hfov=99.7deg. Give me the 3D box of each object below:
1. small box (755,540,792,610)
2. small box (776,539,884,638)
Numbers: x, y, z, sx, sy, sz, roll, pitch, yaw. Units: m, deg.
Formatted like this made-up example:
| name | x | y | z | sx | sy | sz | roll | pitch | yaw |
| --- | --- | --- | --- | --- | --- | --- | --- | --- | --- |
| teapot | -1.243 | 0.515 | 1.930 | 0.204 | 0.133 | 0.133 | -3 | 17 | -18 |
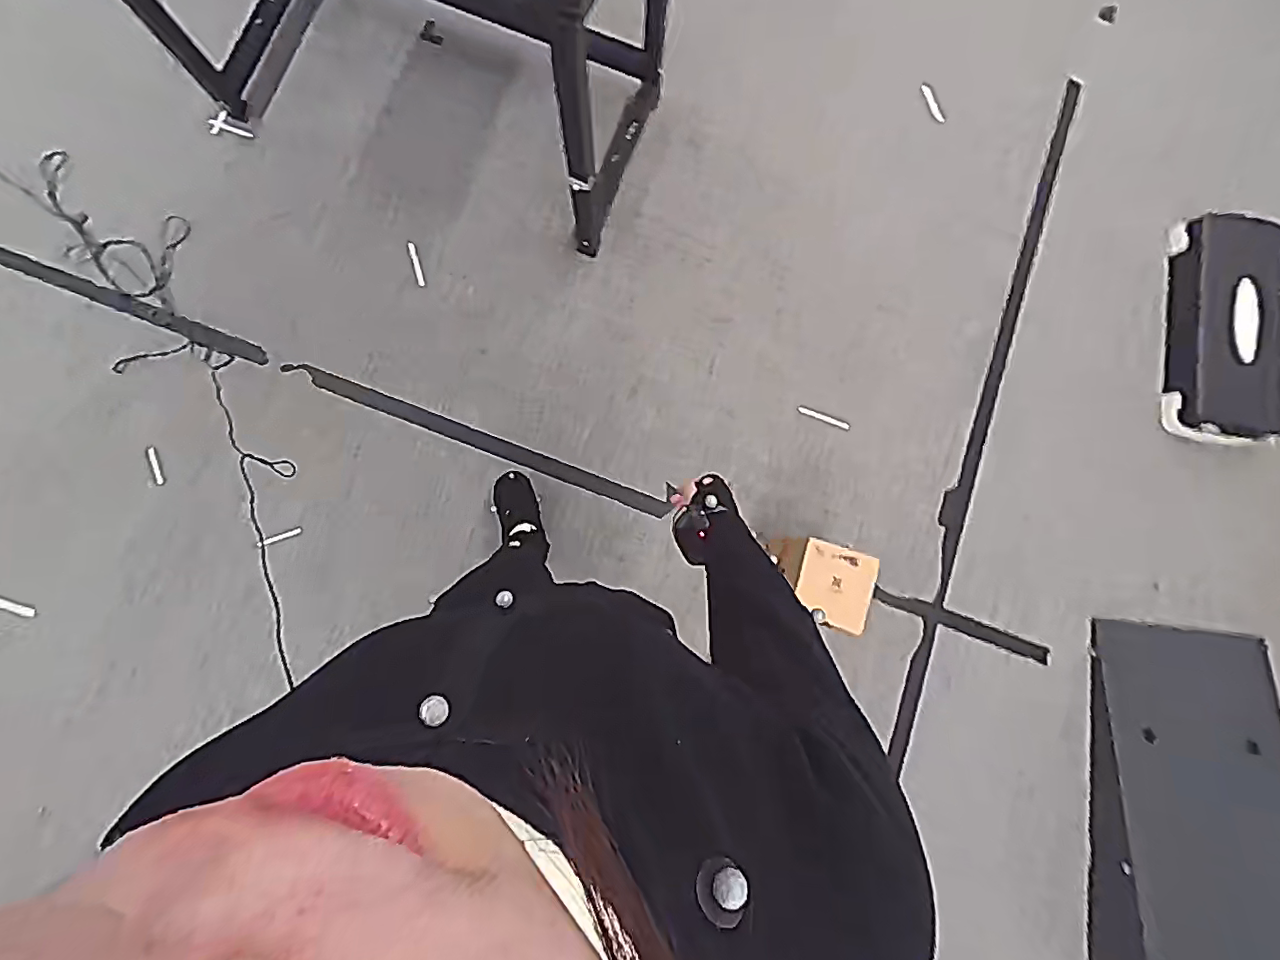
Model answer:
| name | x | y | z | sx | sy | sz | roll | pitch | yaw |
| --- | --- | --- | --- | --- | --- | --- | --- | --- | --- |
| small box | 0.420 | 0.267 | 1.415 | 0.179 | 0.176 | 0.168 | 23 | 83 | 0 |
| small box | 0.429 | 0.243 | 1.252 | 0.168 | 0.176 | 0.179 | 18 | 84 | 0 |
